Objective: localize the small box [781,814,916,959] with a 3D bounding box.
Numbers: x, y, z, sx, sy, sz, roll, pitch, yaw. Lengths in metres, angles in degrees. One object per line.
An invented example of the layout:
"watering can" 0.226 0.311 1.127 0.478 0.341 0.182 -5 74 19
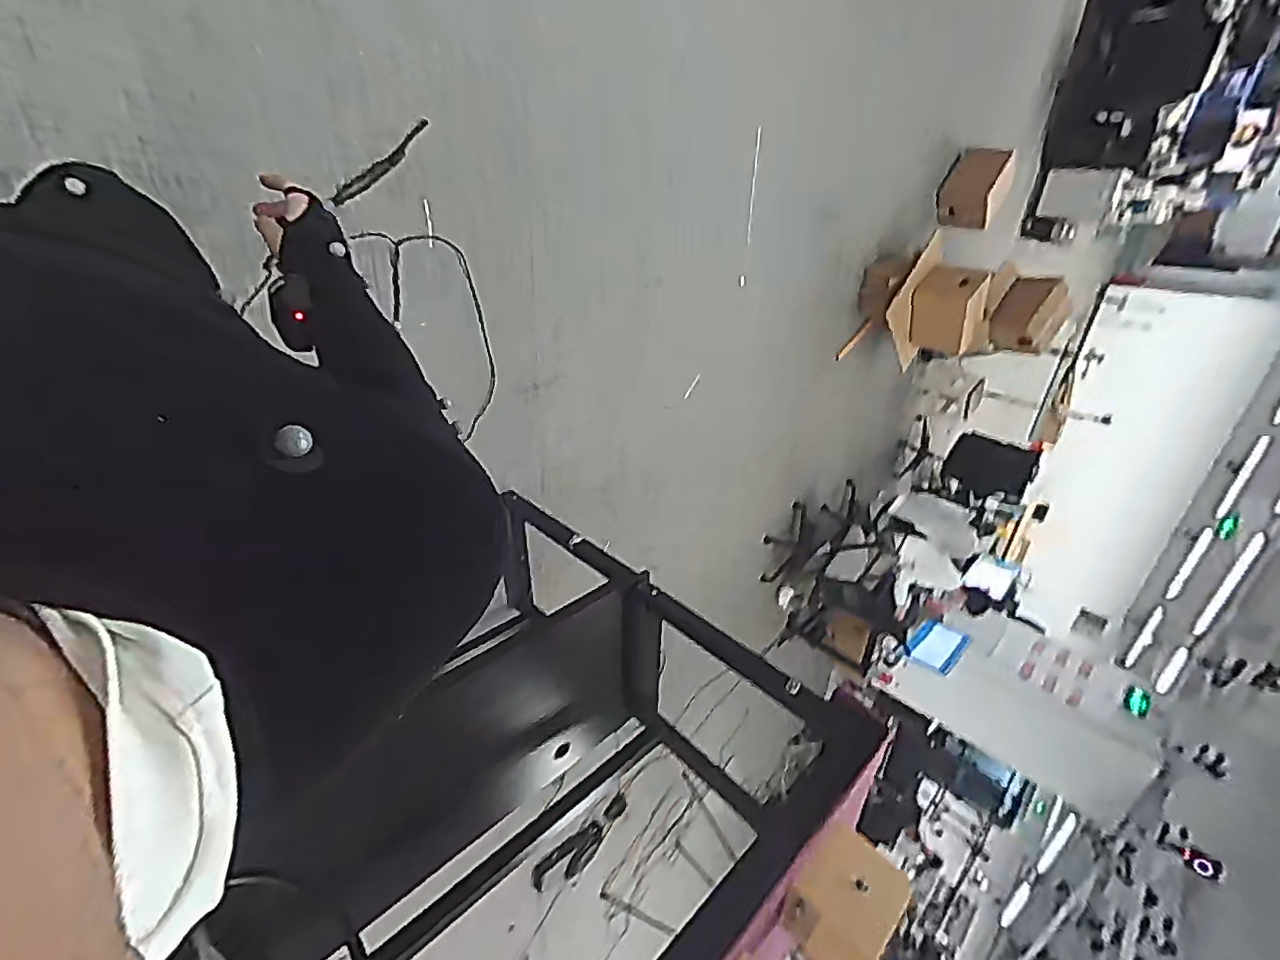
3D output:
"small box" 0.389 0.796 1.030 0.179 0.176 0.168 -27 130 -37
